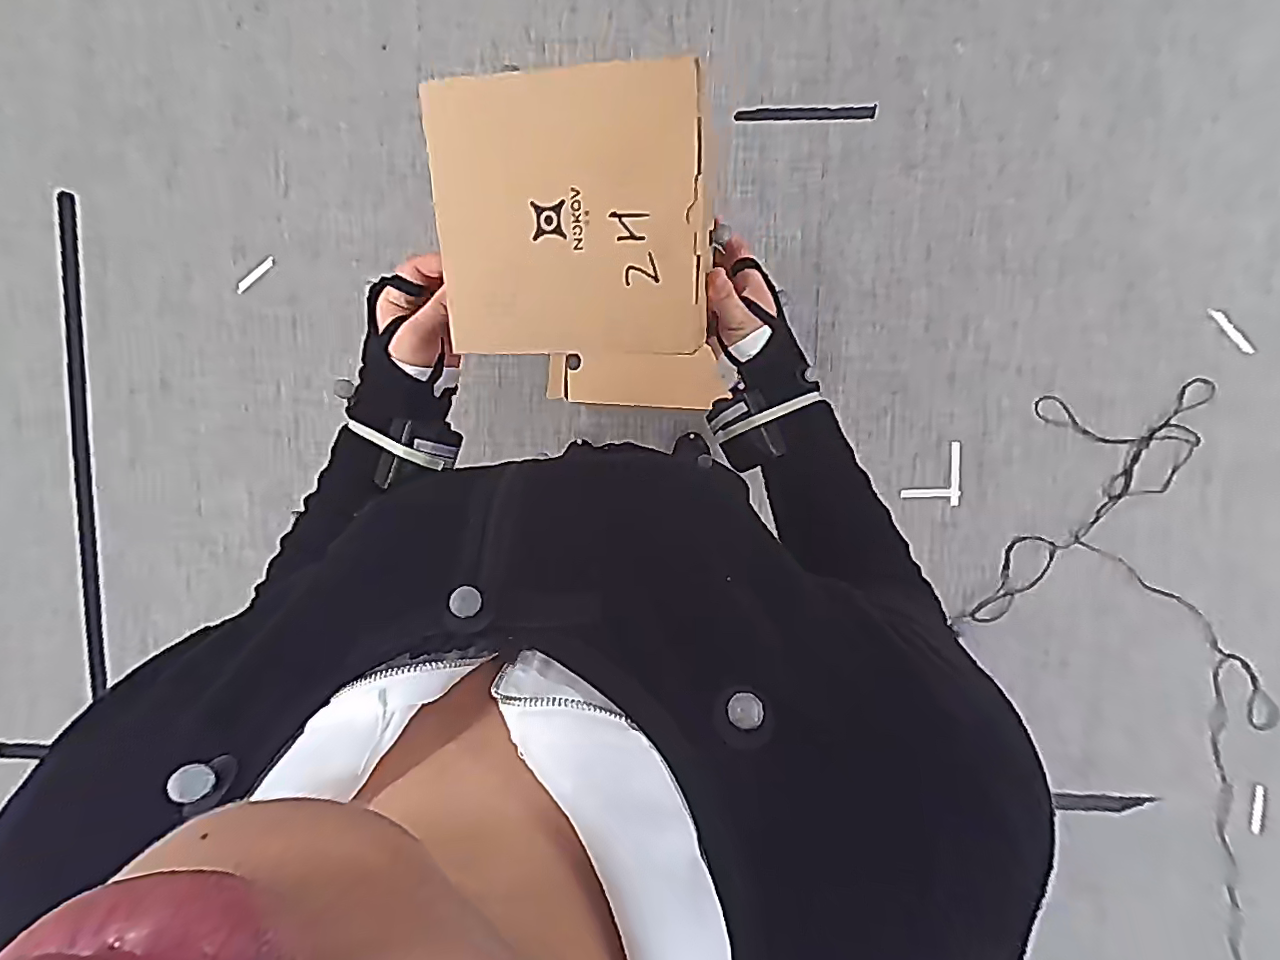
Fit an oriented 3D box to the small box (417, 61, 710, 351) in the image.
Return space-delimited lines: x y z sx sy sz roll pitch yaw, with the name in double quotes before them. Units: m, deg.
"small box" -0.040 -0.191 0.423 0.179 0.176 0.168 2 109 10
